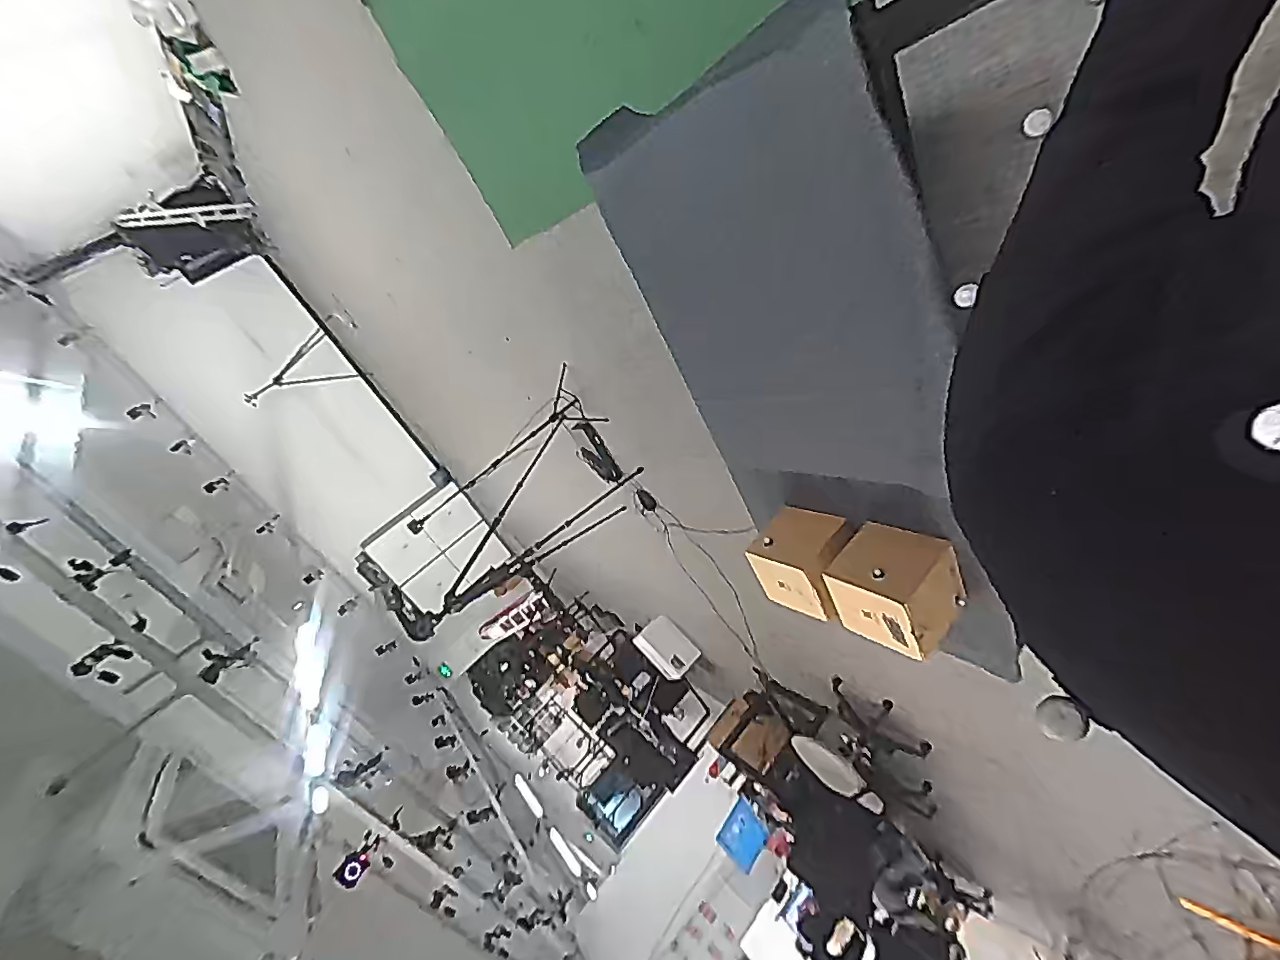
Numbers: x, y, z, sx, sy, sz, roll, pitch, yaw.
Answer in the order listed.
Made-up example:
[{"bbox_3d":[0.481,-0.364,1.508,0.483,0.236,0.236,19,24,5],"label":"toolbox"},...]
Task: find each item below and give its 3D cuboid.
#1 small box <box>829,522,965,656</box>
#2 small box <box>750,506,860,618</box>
[{"bbox_3d":[0.513,0.204,1.066,0.179,0.176,0.168,16,142,55],"label":"small box"},{"bbox_3d":[0.393,0.180,1.244,0.179,0.176,0.168,13,140,55],"label":"small box"}]
